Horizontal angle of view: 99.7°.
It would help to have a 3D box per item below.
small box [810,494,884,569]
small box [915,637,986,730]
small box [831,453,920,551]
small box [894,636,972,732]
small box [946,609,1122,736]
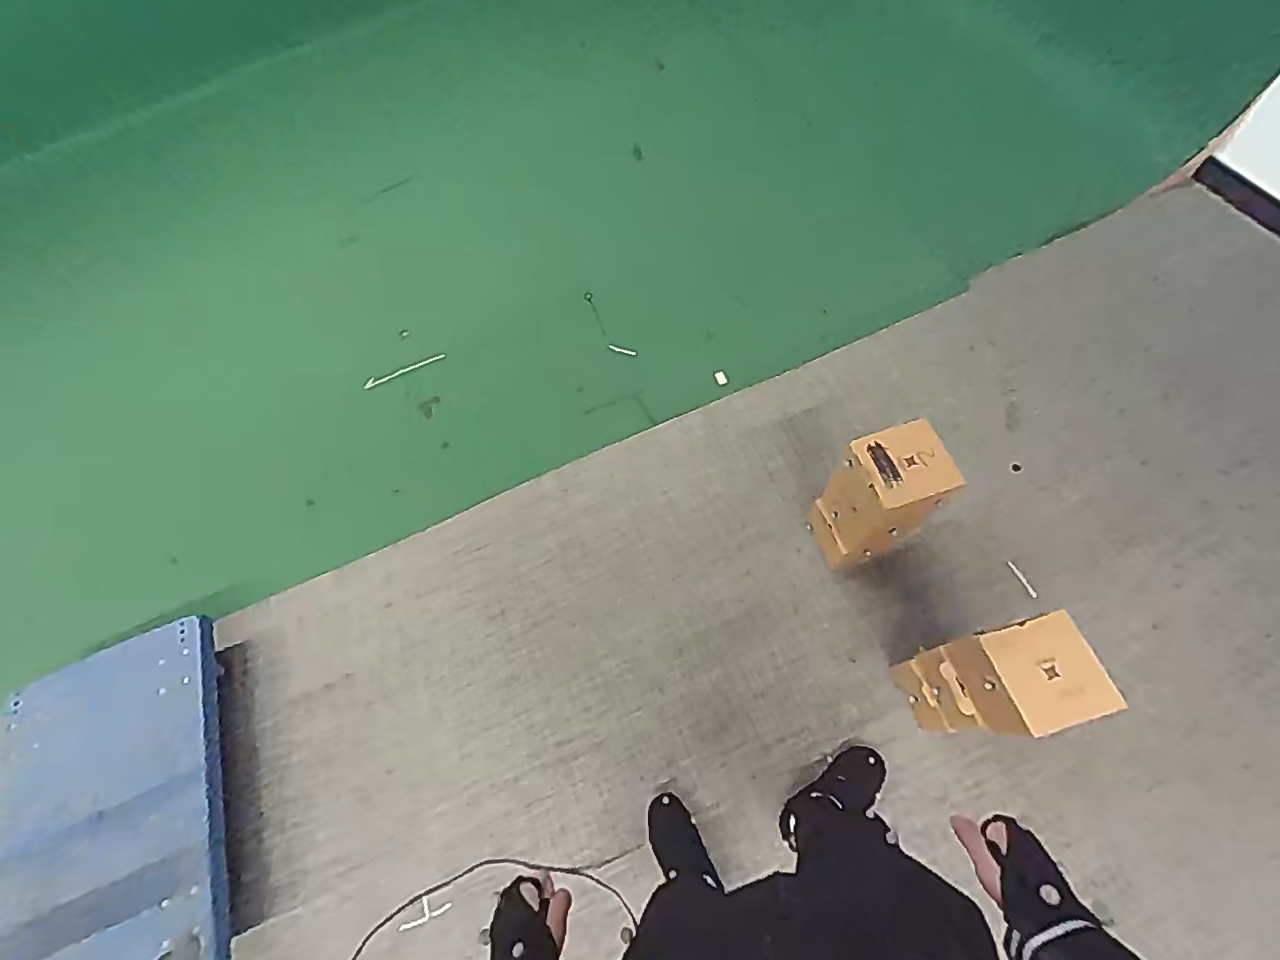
[{"bbox_3d":[0.584,0.130,1.487,0.179,0.176,0.168,-18,65,-2],"label":"small box"},{"bbox_3d":[0.727,0.422,1.151,0.179,0.176,0.168,-17,64,0],"label":"small box"},{"bbox_3d":[0.581,0.058,1.349,0.168,0.176,0.179,10,67,14],"label":"small box"},{"bbox_3d":[0.738,0.494,1.299,0.179,0.176,0.168,-21,65,-1],"label":"small box"},{"bbox_3d":[0.708,0.361,1.001,0.168,0.176,0.179,-18,65,0],"label":"small box"}]
